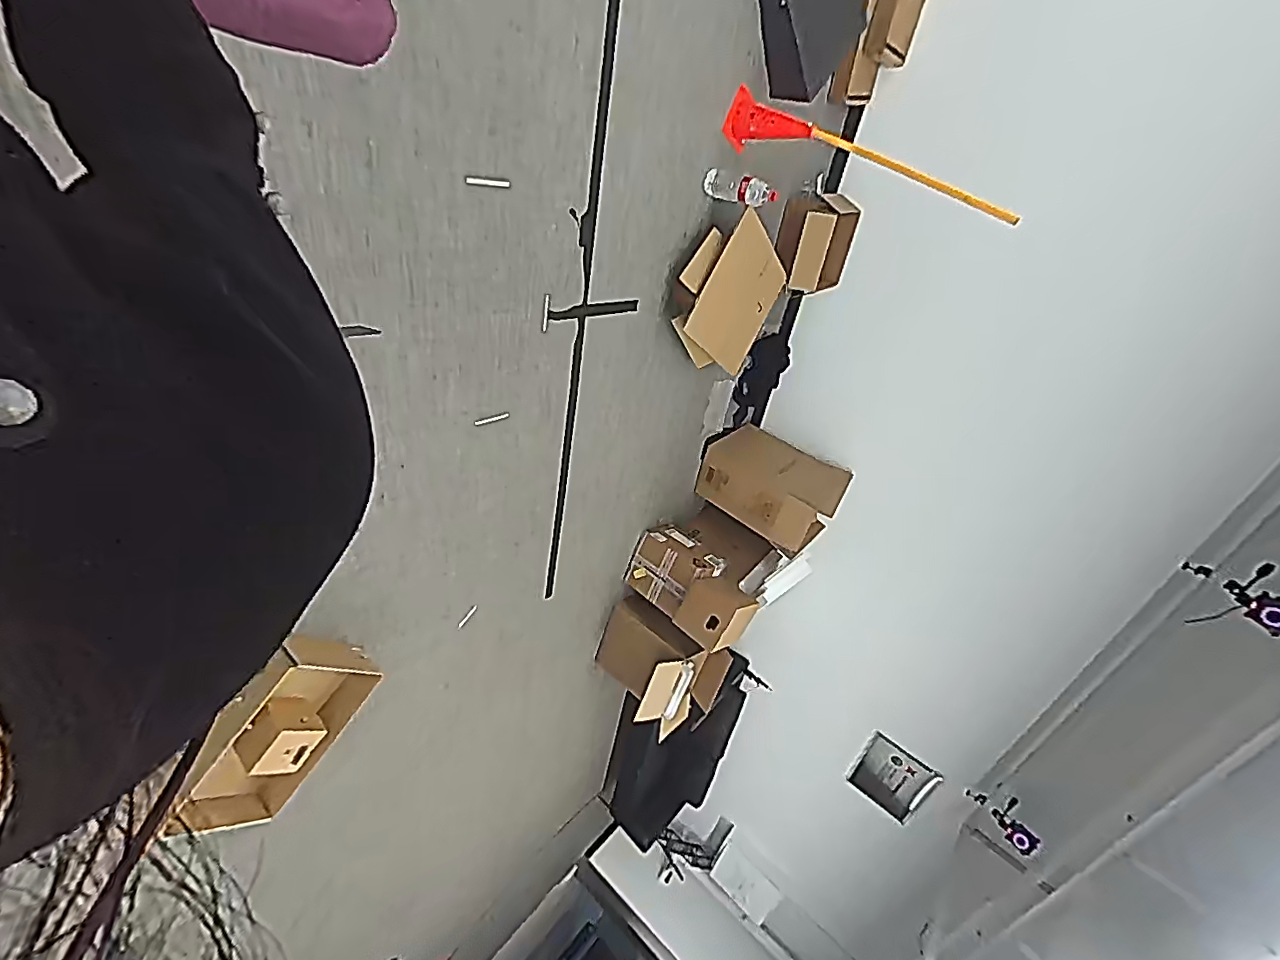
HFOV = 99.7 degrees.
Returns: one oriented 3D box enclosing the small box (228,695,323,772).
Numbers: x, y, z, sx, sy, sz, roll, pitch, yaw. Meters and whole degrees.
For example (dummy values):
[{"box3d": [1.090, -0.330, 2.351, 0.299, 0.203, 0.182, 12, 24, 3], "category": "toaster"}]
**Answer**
[{"box3d": [-1.224, 0.845, 1.817, 0.168, 0.176, 0.179, -54, 151, -8], "category": "small box"}]
